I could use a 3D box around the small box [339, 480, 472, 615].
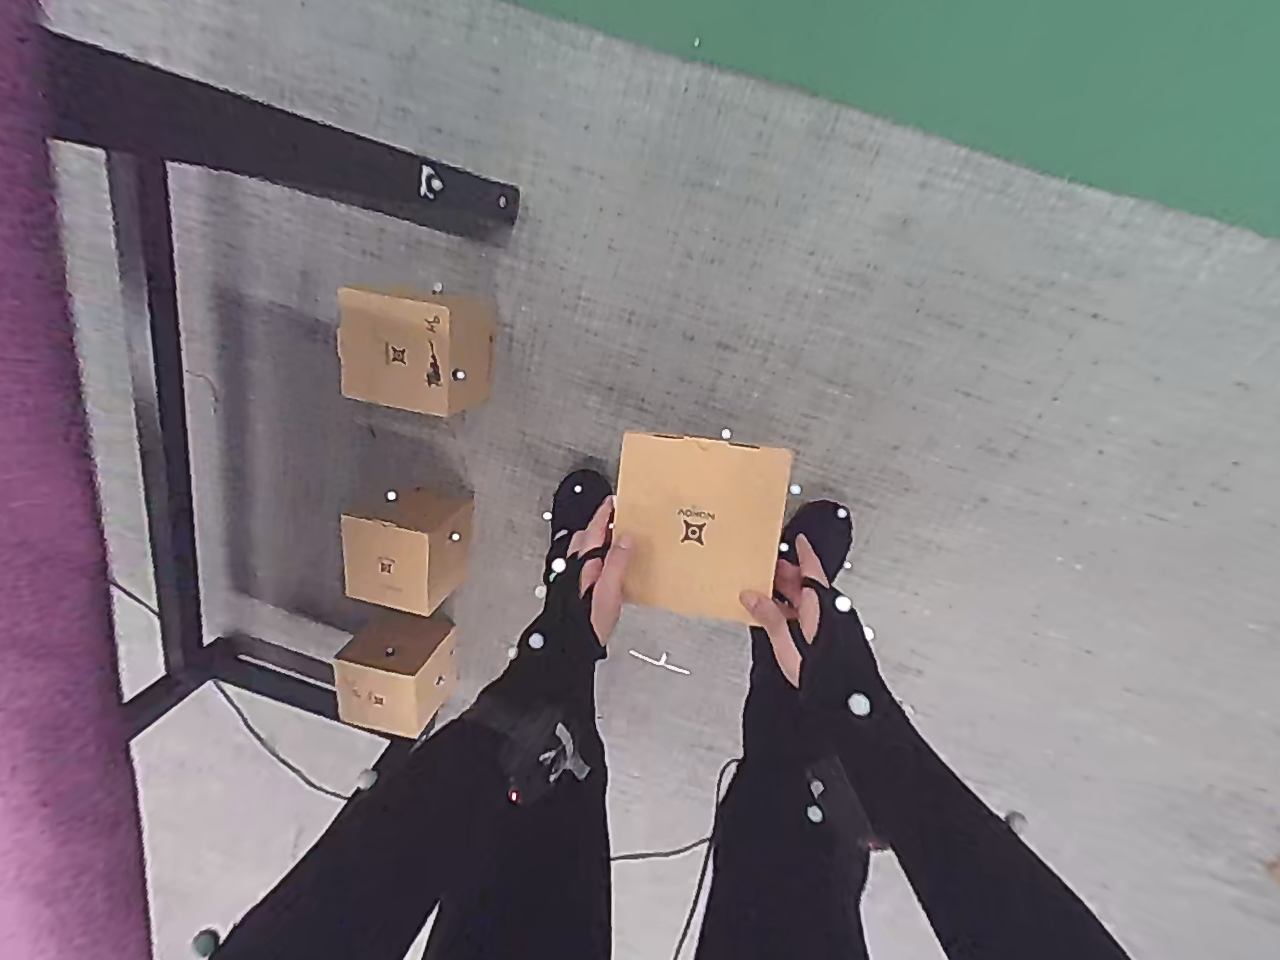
[{"bbox_3d":[-0.428,0.117,1.006,0.168,0.176,0.179,13,113,6],"label":"small box"}]

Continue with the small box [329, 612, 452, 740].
[{"bbox_3d":[-0.508,0.399,1.127,0.179,0.176,0.168,11,112,6],"label":"small box"}]

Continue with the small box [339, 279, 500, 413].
[{"bbox_3d":[-0.346,-0.219,0.863,0.179,0.176,0.168,13,112,6],"label":"small box"}]
